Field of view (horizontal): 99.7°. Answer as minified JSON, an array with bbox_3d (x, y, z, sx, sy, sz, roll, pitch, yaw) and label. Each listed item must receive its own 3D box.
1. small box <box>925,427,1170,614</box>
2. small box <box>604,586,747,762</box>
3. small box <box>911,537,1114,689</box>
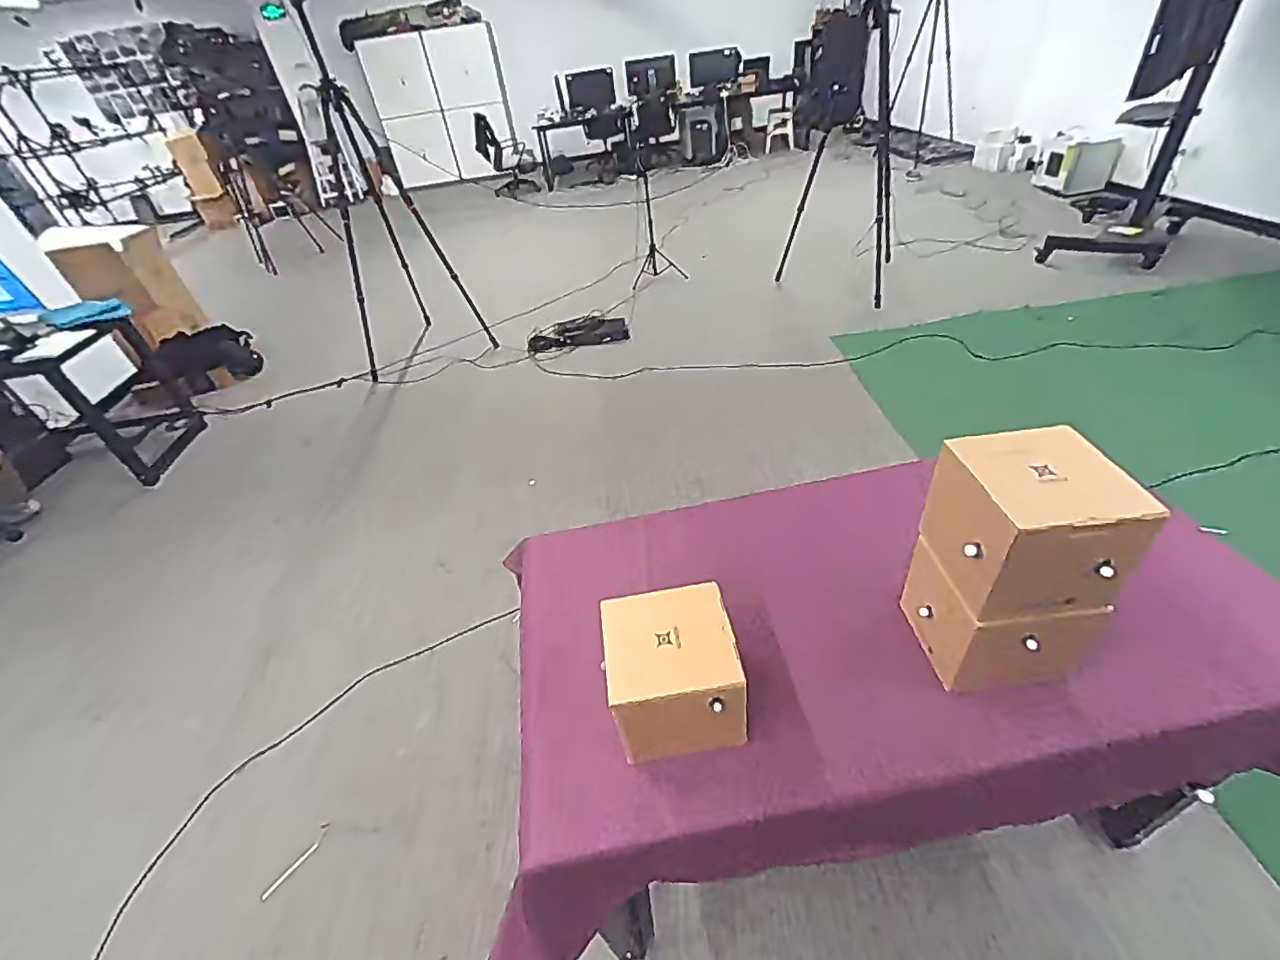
[{"bbox_3d":[0.496,0.057,0.696,0.168,0.176,0.179,-7,38,3],"label":"small box"},{"bbox_3d":[0.051,0.282,0.783,0.179,0.176,0.168,-10,39,-1],"label":"small box"},{"bbox_3d":[0.519,0.187,0.791,0.179,0.176,0.168,-8,40,3],"label":"small box"}]
